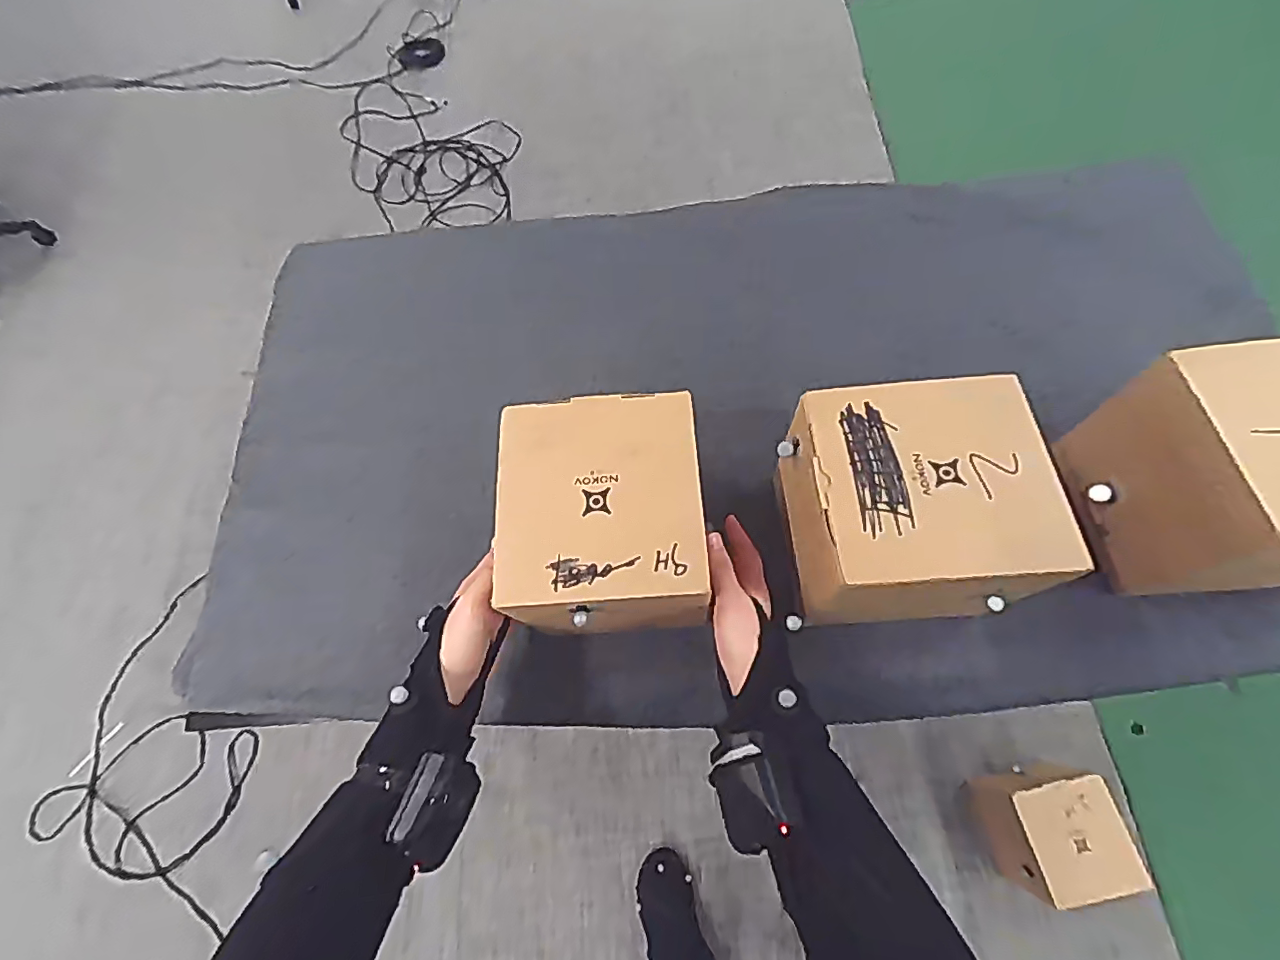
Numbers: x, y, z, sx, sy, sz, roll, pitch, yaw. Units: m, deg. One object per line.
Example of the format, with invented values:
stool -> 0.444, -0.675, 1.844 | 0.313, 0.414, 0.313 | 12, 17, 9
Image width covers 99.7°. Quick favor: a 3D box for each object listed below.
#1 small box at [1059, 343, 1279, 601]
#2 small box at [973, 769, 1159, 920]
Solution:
small box -> 0.519, 0.001, 0.461 | 0.179, 0.176, 0.168 | -5, 64, 5
small box -> 0.749, 0.643, 0.975 | 0.168, 0.176, 0.179 | -13, 68, 0
